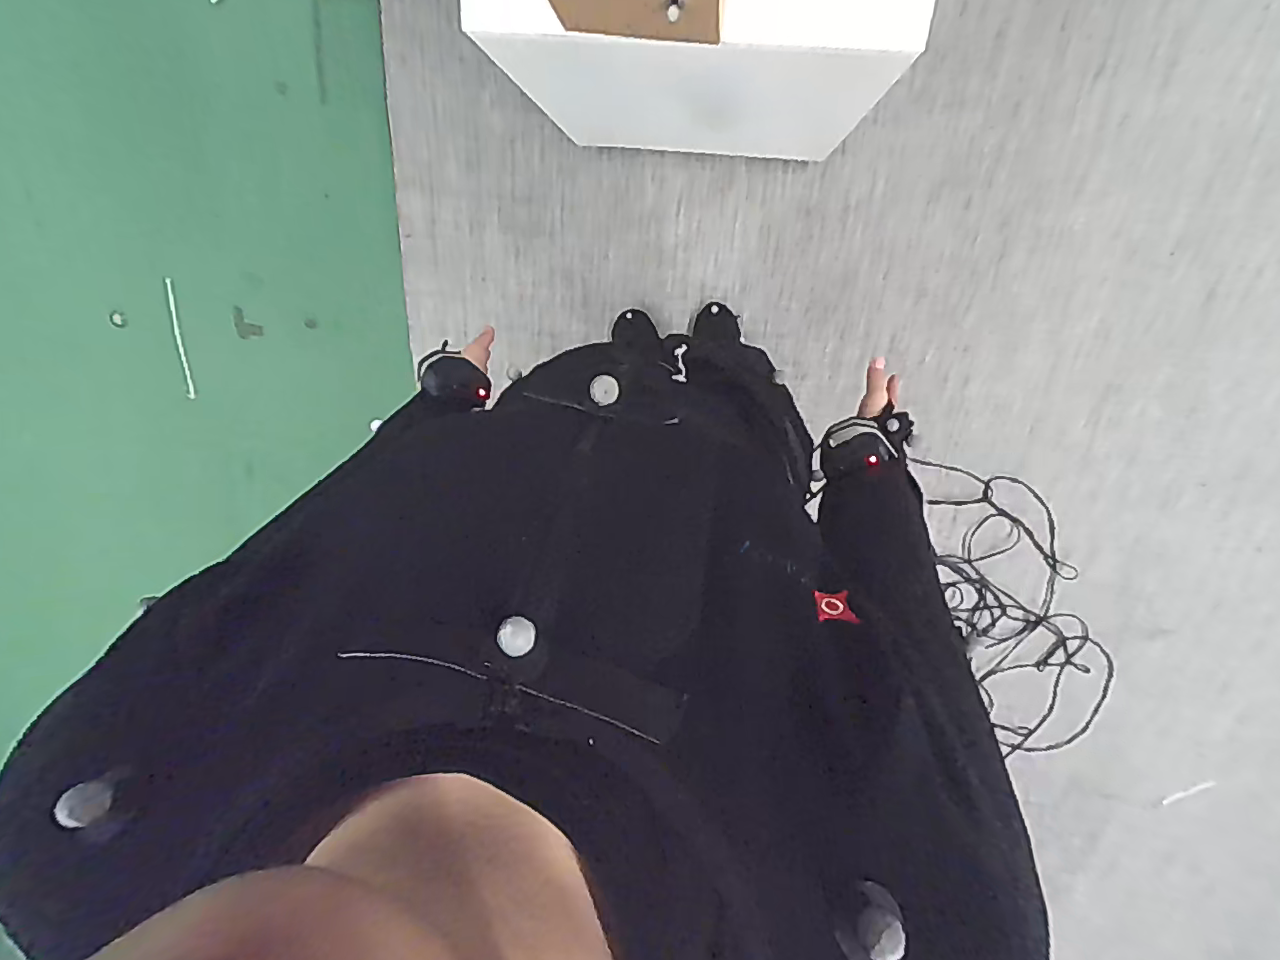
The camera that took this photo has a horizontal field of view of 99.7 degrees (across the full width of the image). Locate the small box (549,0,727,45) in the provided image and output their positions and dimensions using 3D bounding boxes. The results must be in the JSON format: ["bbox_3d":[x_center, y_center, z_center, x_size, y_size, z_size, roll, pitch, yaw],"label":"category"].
[{"bbox_3d":[0.003,-0.528,0.487,0.179,0.176,0.168,9,109,6],"label":"small box"}]
